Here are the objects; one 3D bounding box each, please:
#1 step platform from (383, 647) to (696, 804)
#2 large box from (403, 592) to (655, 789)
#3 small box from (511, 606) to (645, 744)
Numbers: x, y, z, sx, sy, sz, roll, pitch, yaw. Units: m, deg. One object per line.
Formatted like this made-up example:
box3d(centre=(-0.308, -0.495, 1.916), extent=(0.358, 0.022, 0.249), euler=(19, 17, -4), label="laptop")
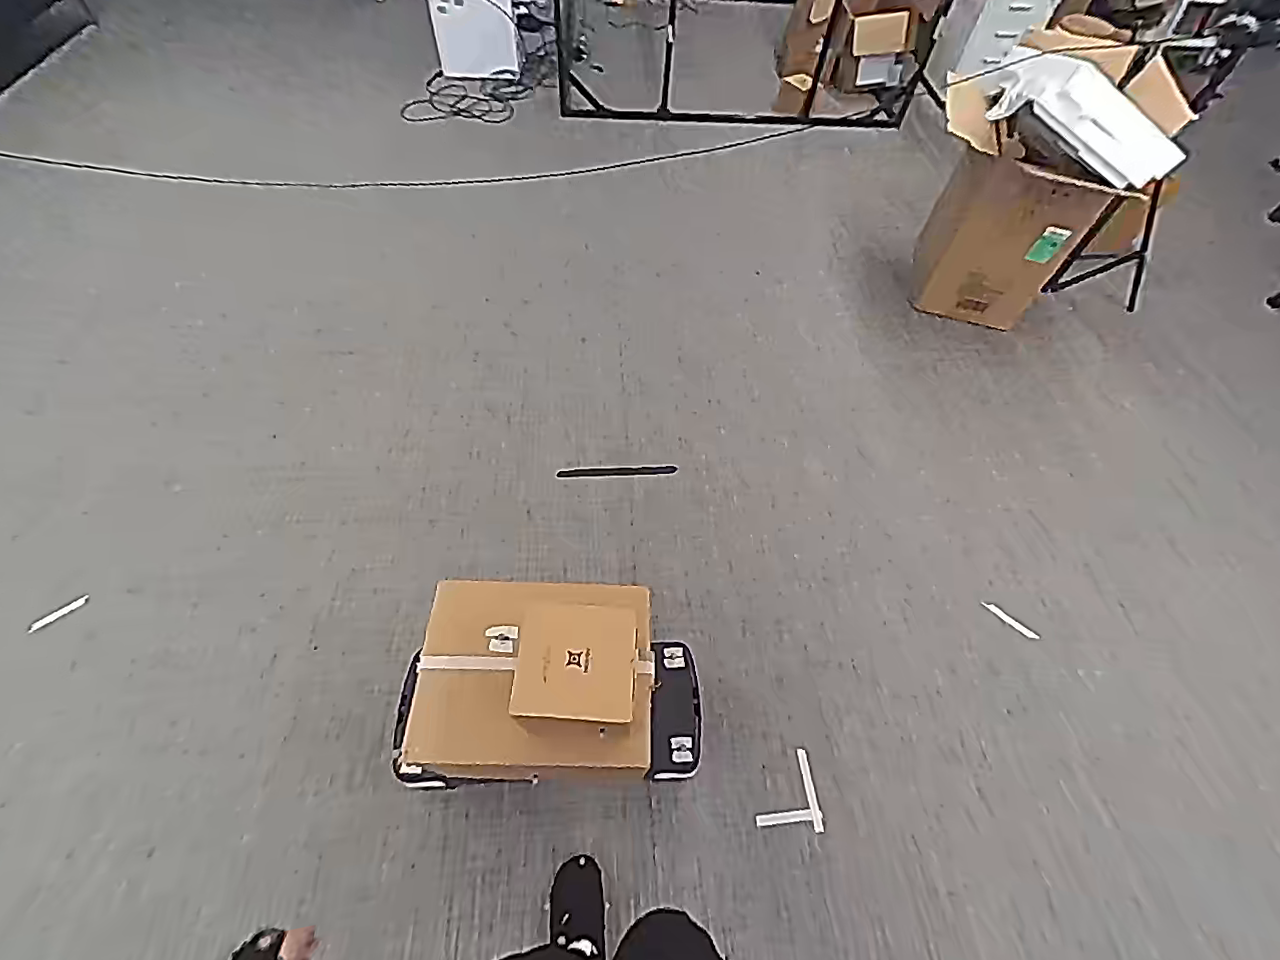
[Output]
box3d(centre=(-0.213, 0.564, 1.252), extent=(0.684, 0.204, 0.286), euler=(3, 56, 0), label="step platform")
box3d(centre=(-0.181, 0.423, 1.062), extent=(0.408, 0.320, 0.320), euler=(1, 55, -2), label="large box")
box3d(centre=(-0.089, 0.310, 0.847), extent=(0.179, 0.176, 0.168), euler=(4, 57, 0), label="small box")
